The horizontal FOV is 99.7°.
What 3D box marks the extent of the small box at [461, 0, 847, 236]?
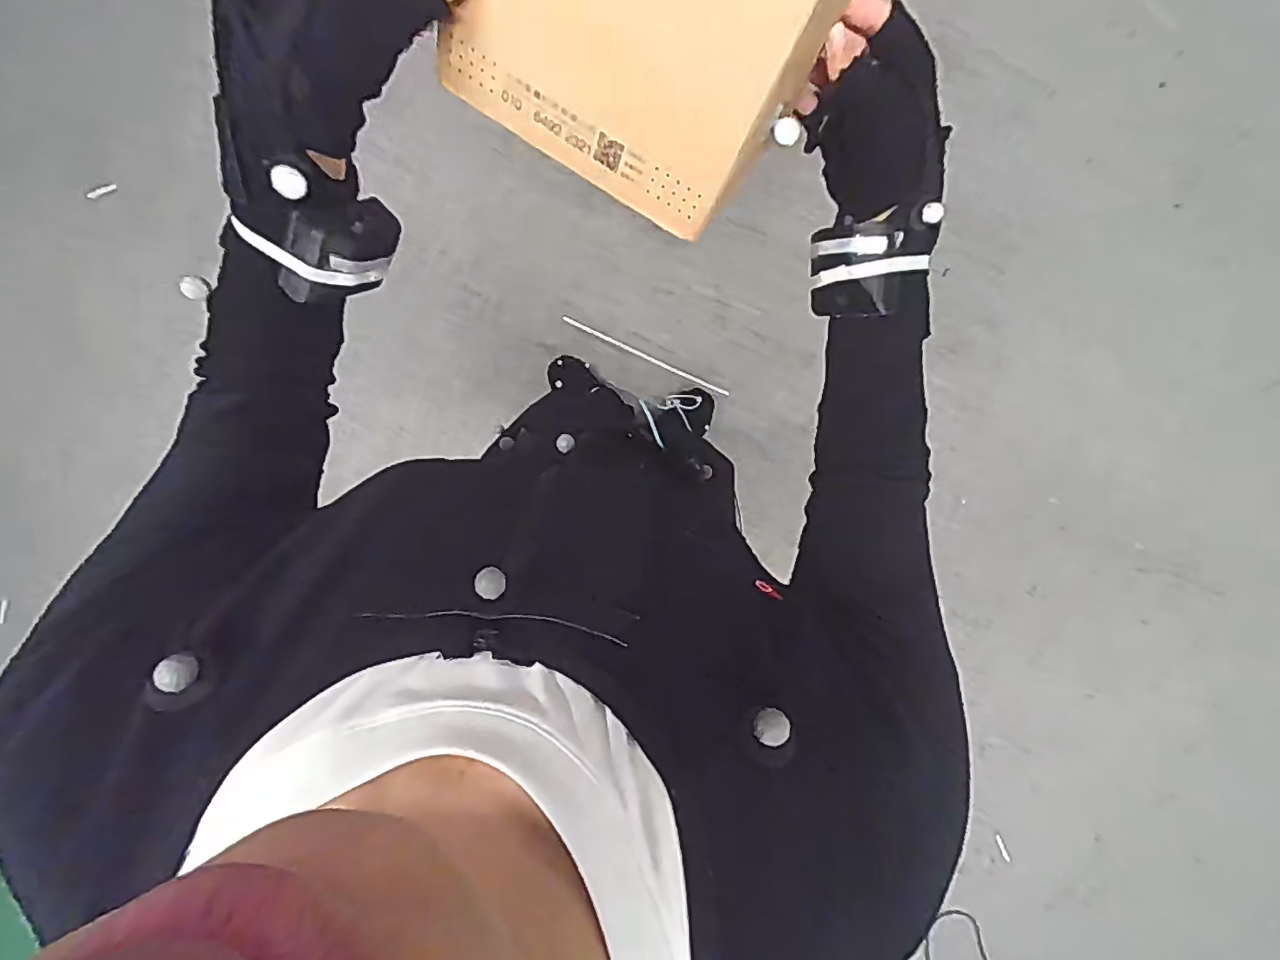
[{"bbox_3d":[0.021,-0.273,0.289,0.168,0.179,0.176,31,144,-2],"label":"small box"}]
